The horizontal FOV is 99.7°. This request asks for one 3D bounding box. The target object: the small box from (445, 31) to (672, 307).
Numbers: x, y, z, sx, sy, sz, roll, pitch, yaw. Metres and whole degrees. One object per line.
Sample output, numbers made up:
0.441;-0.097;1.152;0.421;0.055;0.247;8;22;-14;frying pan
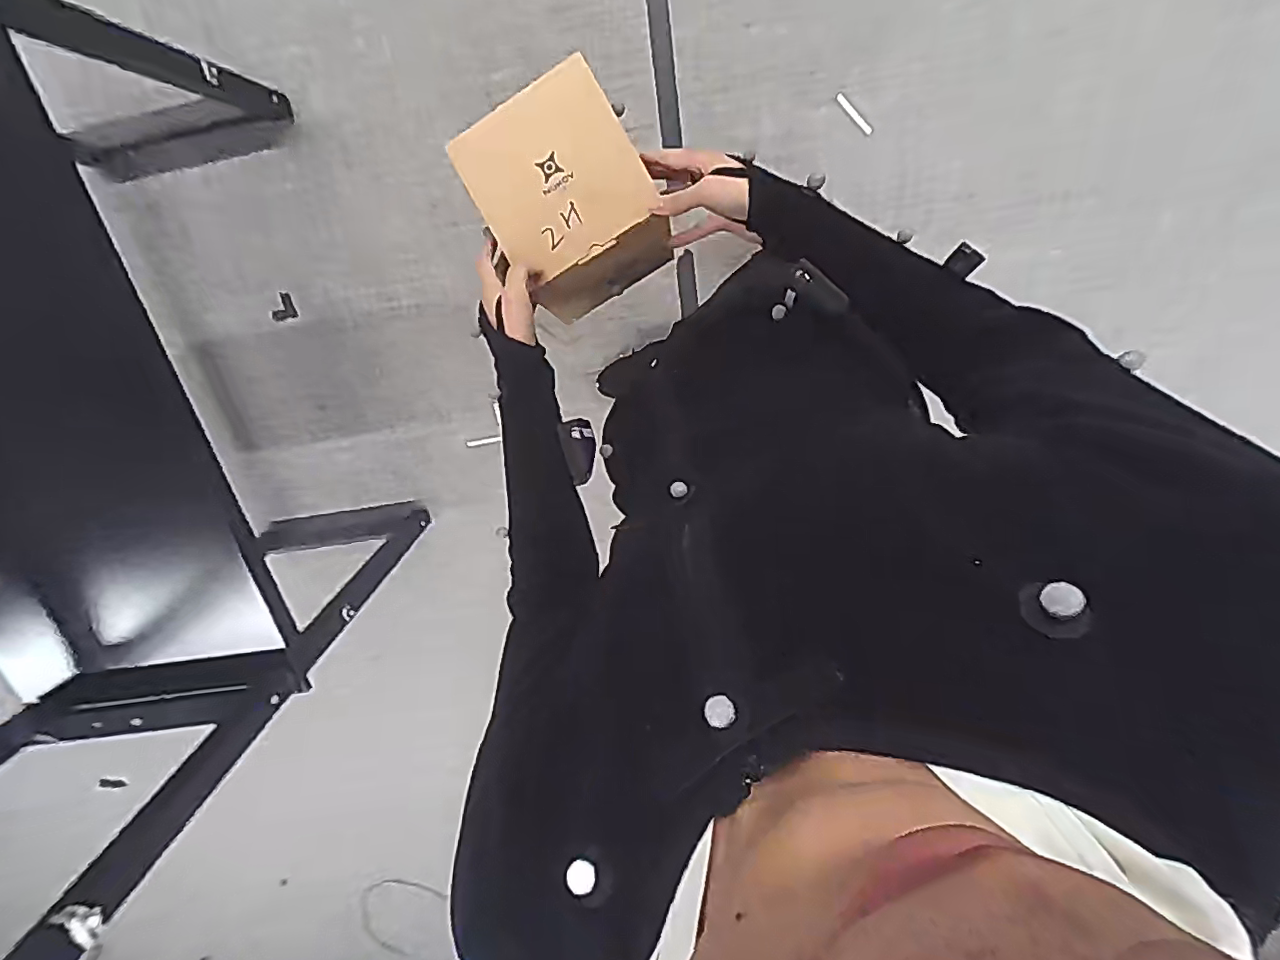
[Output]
-0.076;-0.322;0.604;0.168;0.176;0.179;-29;92;8;small box
